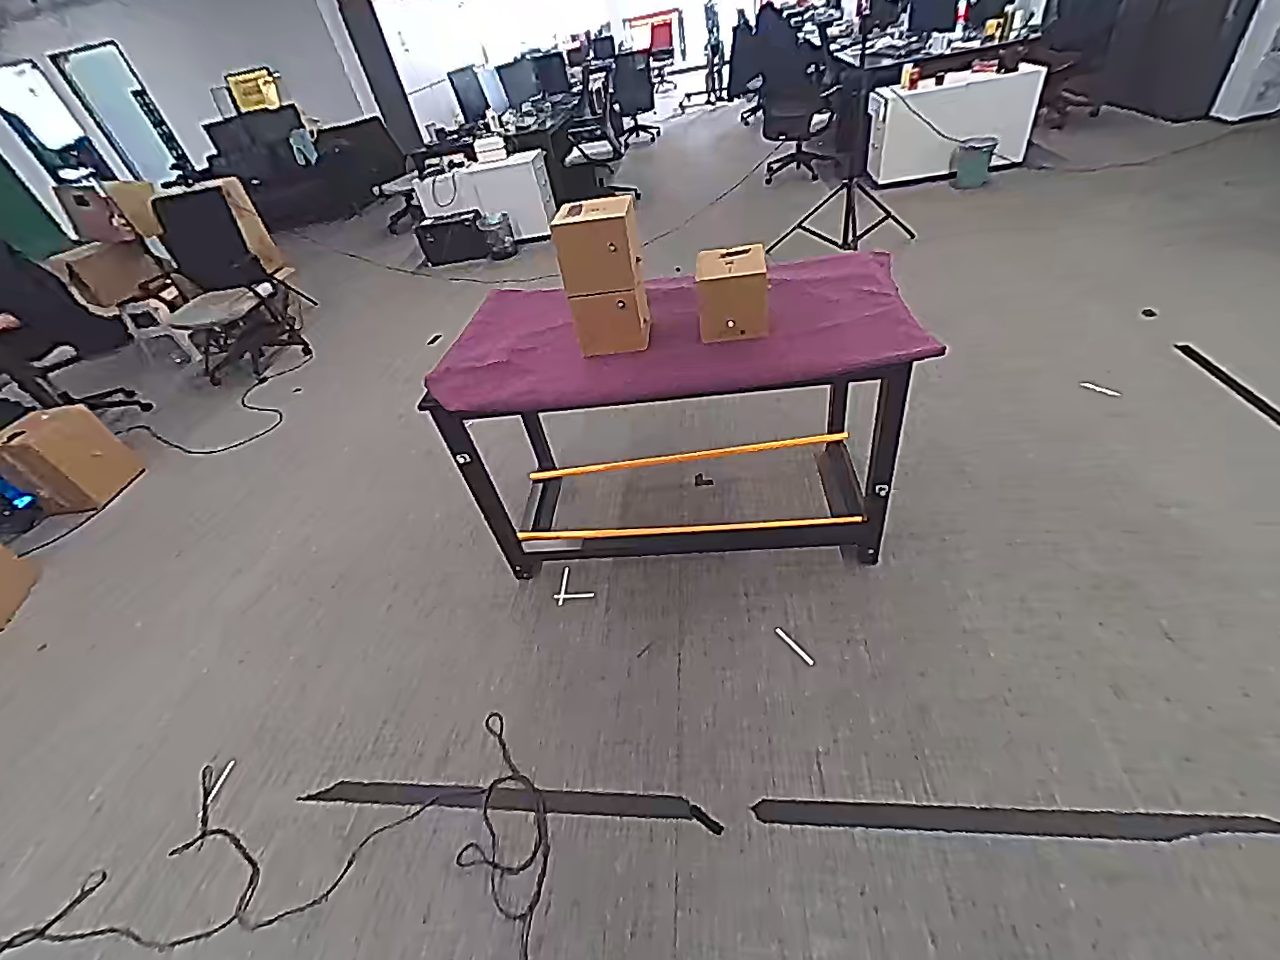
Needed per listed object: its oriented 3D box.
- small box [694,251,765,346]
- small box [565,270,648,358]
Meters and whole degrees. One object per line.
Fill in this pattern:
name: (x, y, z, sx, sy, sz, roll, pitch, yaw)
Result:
small box: (0.228, -0.458, 1.373, 0.168, 0.176, 0.179, -3, 42, 11)
small box: (-0.081, -0.433, 1.424, 0.179, 0.176, 0.168, -4, 41, 9)
